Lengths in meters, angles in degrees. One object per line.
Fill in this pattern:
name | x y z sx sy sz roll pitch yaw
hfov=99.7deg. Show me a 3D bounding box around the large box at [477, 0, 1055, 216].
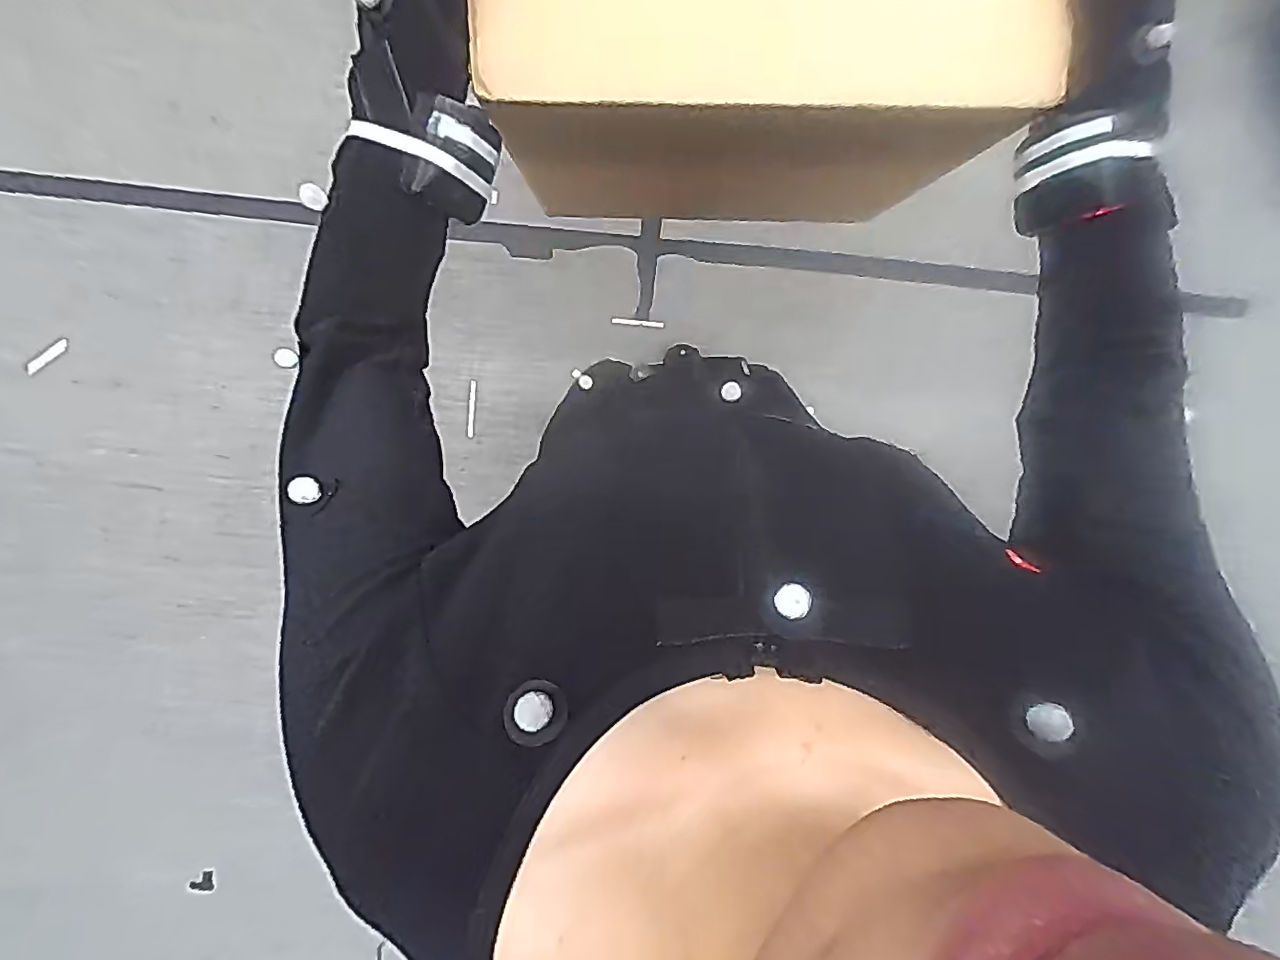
large box | 0.082 -0.449 0.494 0.408 0.320 0.320 0 102 -1
